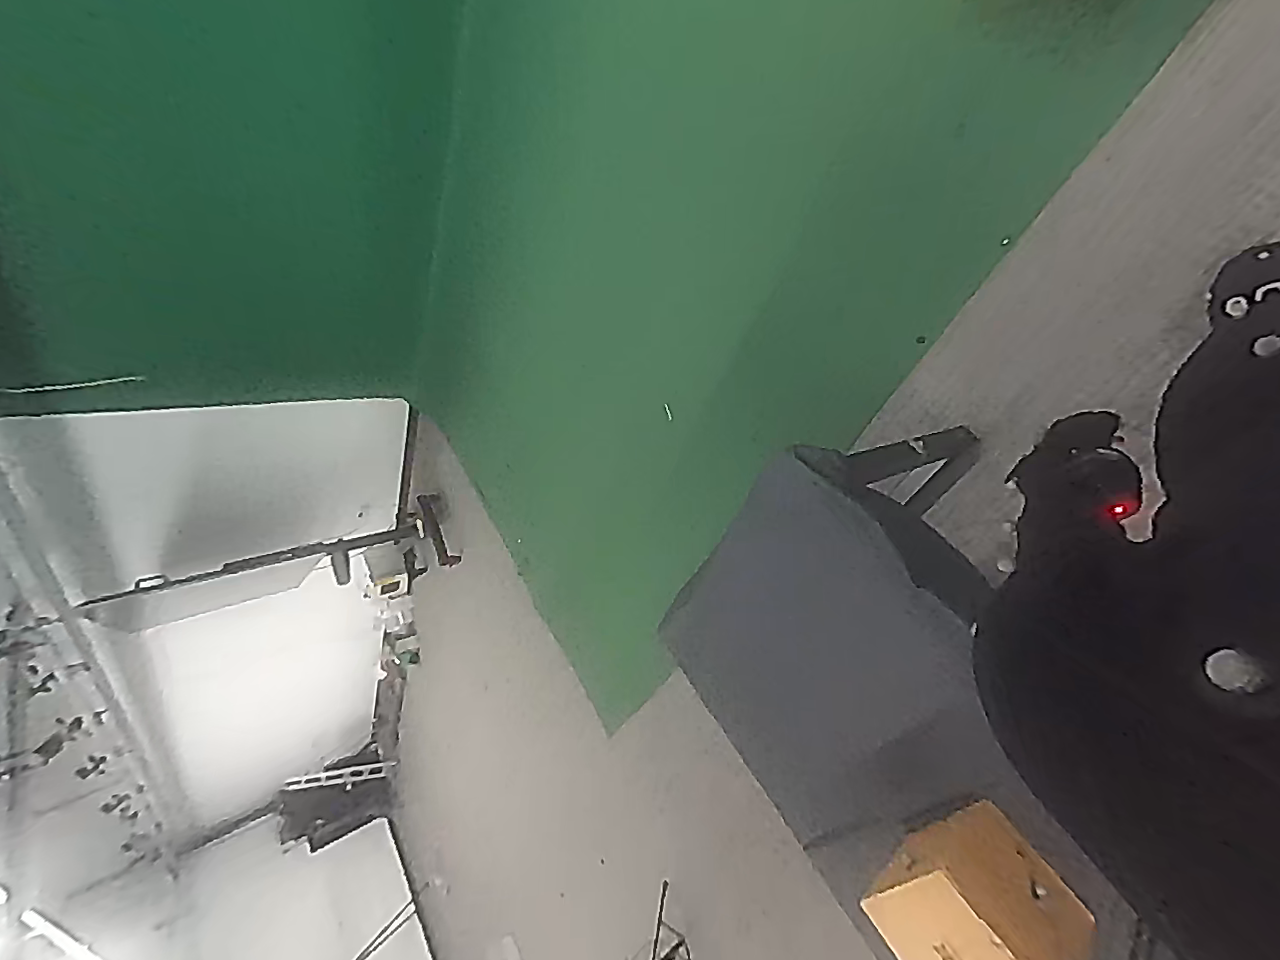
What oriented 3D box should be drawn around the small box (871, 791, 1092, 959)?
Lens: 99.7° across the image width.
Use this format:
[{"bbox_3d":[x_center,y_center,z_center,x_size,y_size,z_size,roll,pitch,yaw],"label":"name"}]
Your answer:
[{"bbox_3d":[0.470,0.575,0.749,0.168,0.176,0.179,52,134,30],"label":"small box"}]
